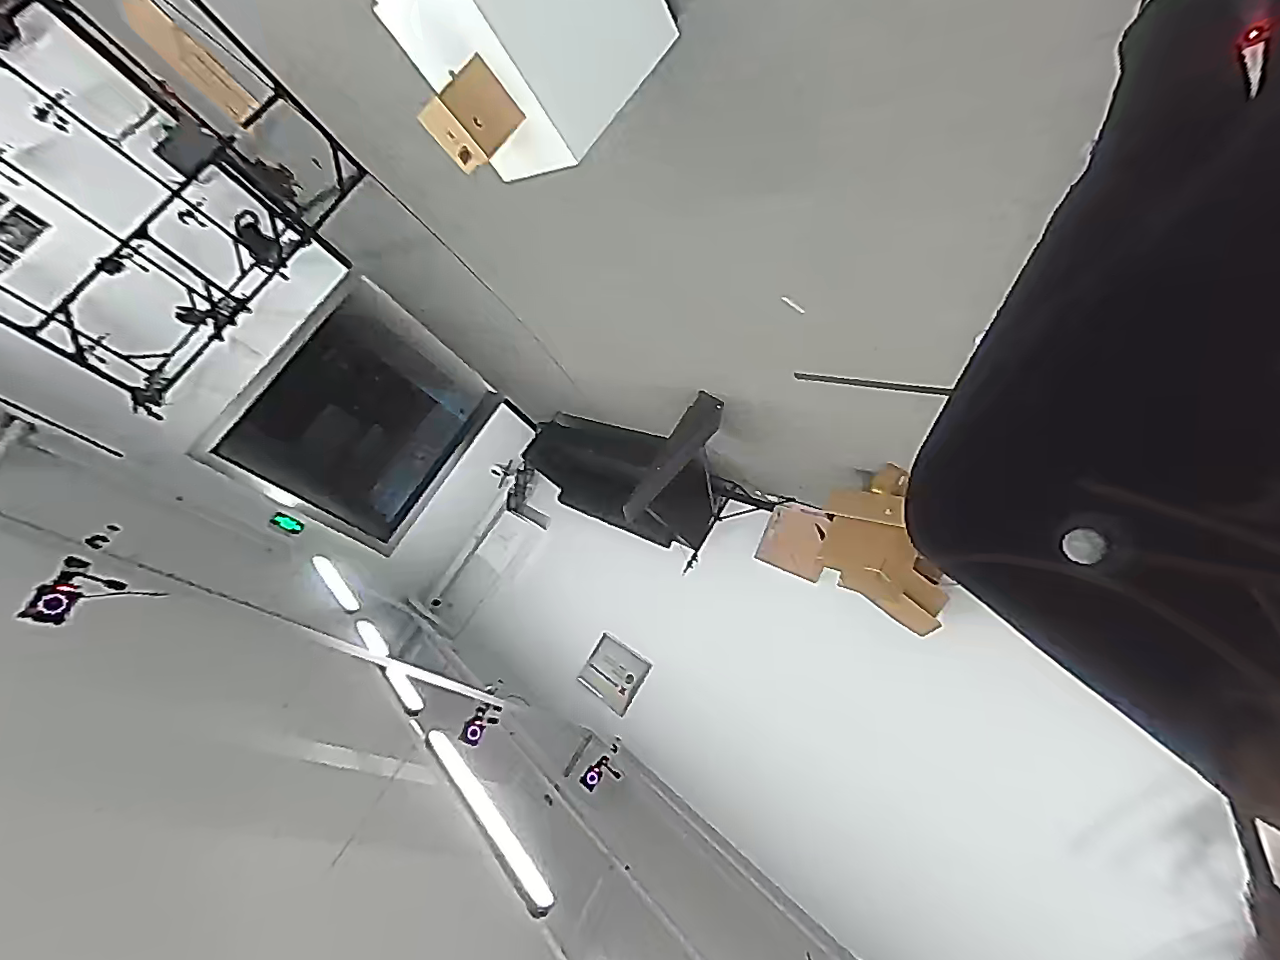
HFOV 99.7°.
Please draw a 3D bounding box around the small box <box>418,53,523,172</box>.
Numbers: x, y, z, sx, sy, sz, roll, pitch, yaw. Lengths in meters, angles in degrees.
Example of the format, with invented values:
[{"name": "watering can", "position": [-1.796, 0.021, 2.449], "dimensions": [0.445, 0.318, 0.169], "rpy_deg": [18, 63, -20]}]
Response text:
[{"name": "small box", "position": [-0.444, -0.963, 1.429], "dimensions": [0.168, 0.176, 0.179], "rpy_deg": [17, 159, 50]}]
